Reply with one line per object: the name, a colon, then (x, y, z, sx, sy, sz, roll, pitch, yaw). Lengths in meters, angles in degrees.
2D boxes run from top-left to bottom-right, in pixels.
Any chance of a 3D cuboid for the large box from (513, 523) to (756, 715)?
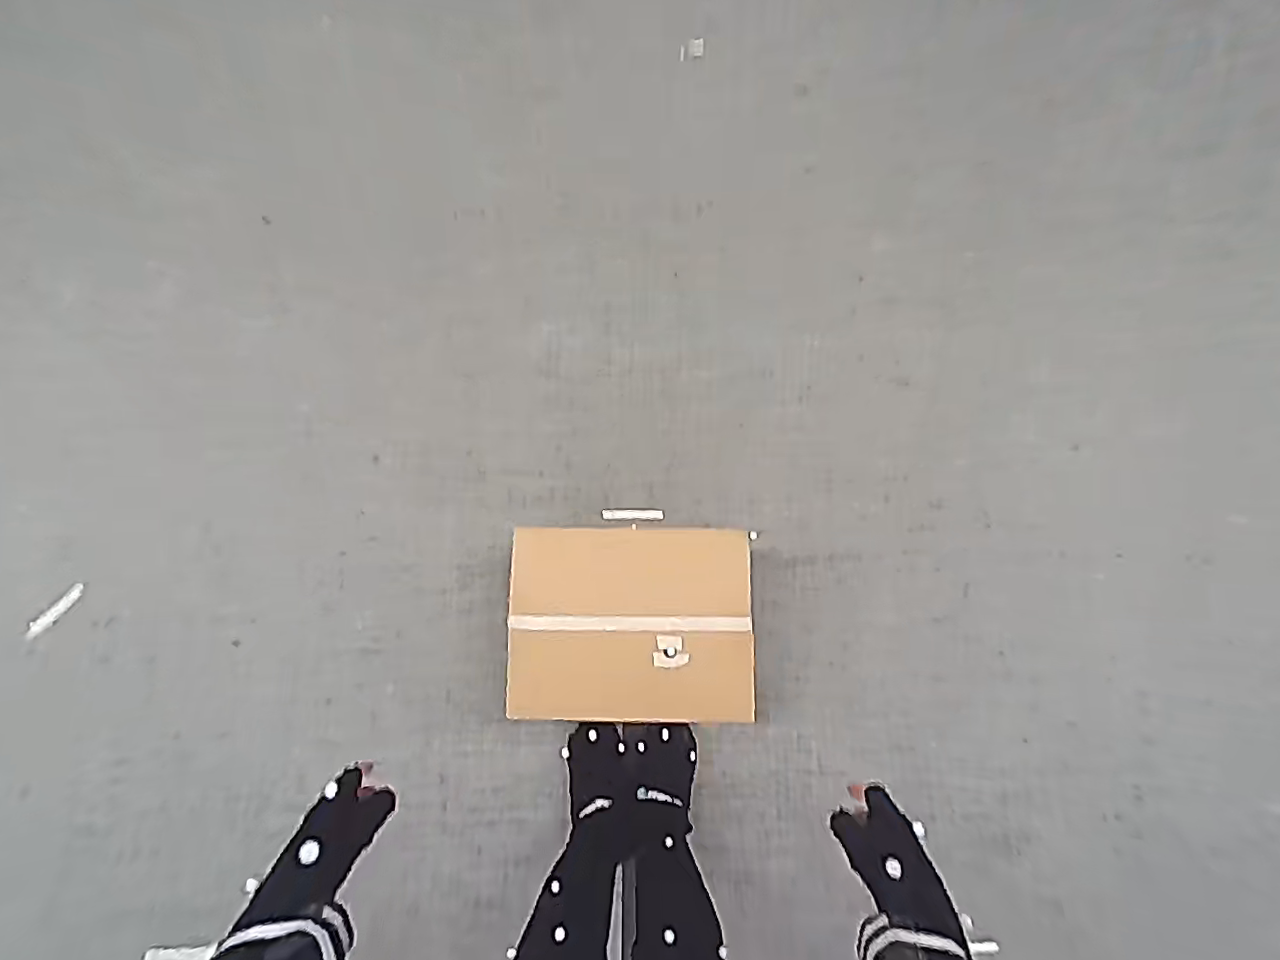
large box: (-0.011, 0.252, 1.045, 0.408, 0.320, 0.320, 1, 82, 0)
